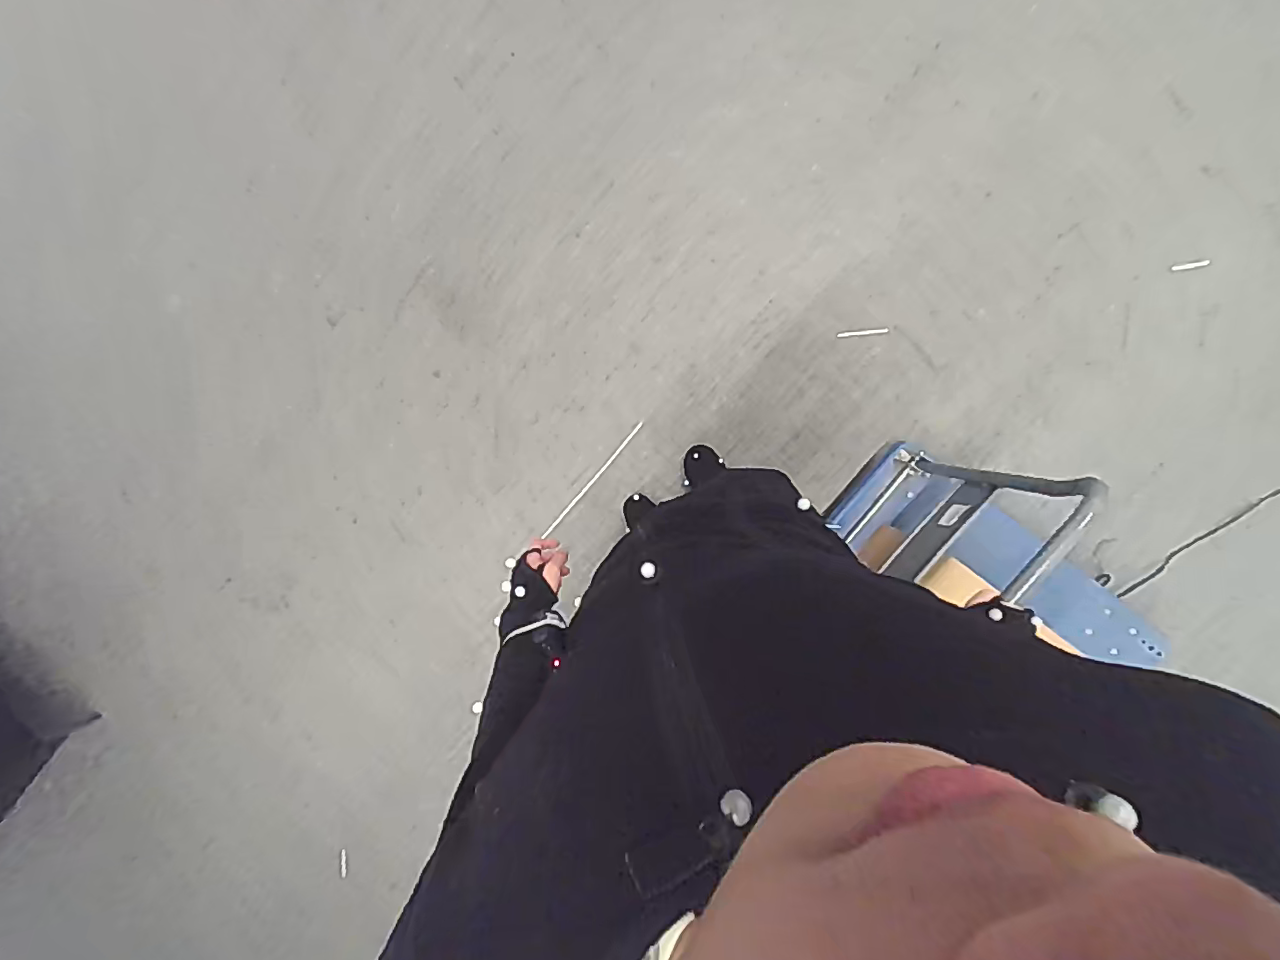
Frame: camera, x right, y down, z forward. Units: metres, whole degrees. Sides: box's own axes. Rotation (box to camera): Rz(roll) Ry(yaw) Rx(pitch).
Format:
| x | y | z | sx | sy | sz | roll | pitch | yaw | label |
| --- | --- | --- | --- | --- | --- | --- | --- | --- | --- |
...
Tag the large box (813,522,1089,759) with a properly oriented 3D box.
| x | y | z | sx | sy | sz | roll | pitch | yaw | label |
| --- | --- | --- | --- | --- | --- | --- | --- | --- | --- |
| 0.696 | 0.350 | 1.288 | 0.408 | 0.320 | 0.320 | 37 | 96 | 1 | large box |
